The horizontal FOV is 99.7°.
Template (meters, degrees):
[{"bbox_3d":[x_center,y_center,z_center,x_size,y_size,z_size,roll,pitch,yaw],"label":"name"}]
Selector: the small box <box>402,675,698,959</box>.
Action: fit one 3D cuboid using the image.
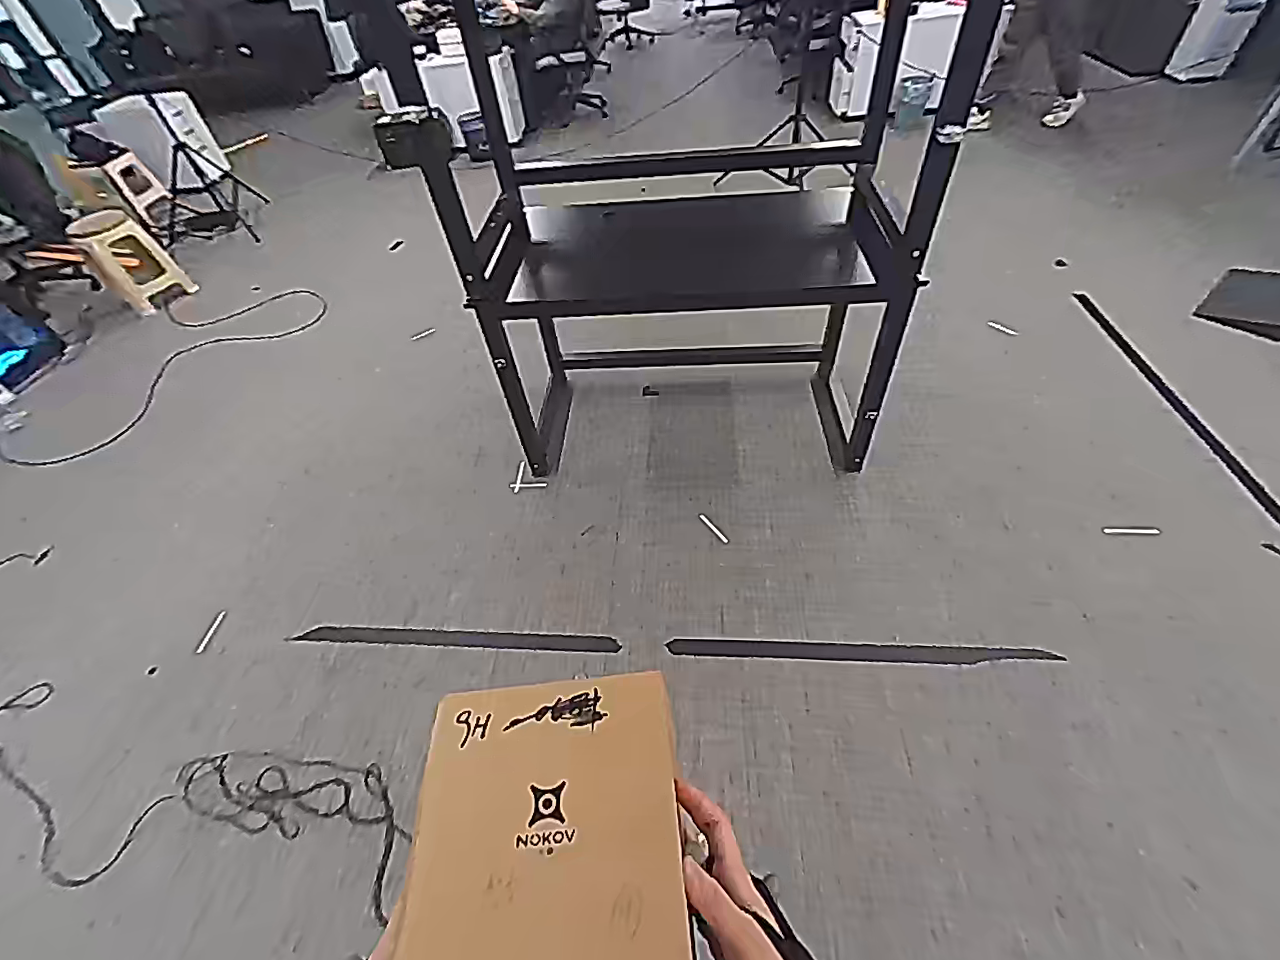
[{"bbox_3d":[-0.048,0.267,0.397,0.168,0.176,0.179,-6,48,0],"label":"small box"}]
